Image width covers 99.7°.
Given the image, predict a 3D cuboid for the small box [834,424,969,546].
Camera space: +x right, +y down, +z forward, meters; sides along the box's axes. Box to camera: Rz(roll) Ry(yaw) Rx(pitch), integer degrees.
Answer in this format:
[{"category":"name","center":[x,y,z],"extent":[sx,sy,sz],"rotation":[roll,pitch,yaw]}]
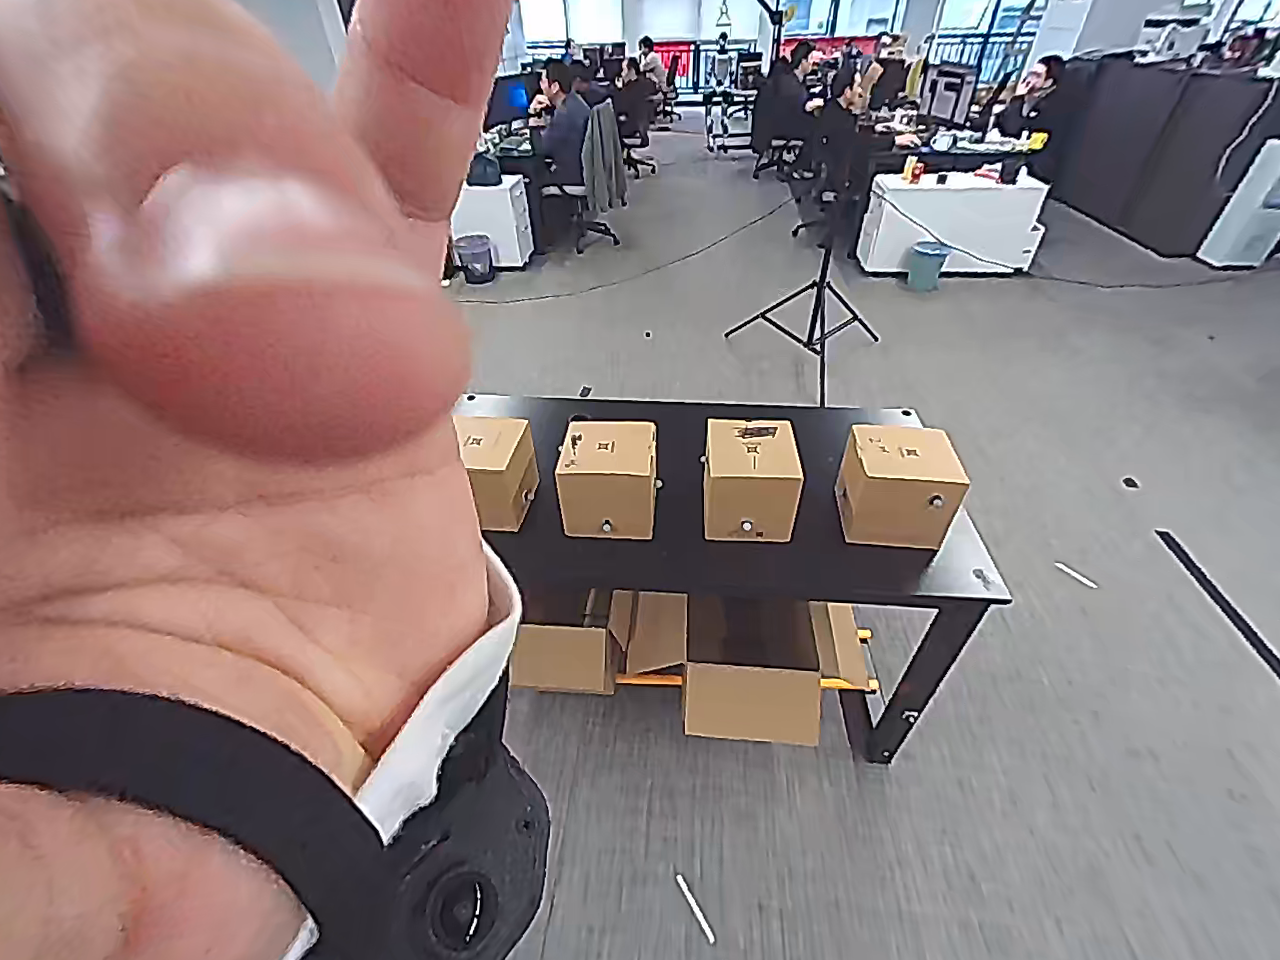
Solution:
[{"category":"small box","center":[0.490,0.011,1.043],"extent":[0.179,0.176,0.168],"rotation":[3,39,7]}]

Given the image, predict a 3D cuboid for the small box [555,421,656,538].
[{"category":"small box","center":[-0.060,0.001,1.078],"extent":[0.179,0.176,0.168],"rotation":[2,40,4]}]

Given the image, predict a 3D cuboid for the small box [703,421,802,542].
[{"category":"small box","center":[0.212,0.001,1.068],"extent":[0.168,0.176,0.179],"rotation":[1,41,4]}]

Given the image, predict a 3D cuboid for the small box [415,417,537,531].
[{"category":"small box","center":[-0.322,-0.012,1.104],"extent":[0.179,0.176,0.168],"rotation":[4,42,5]}]
